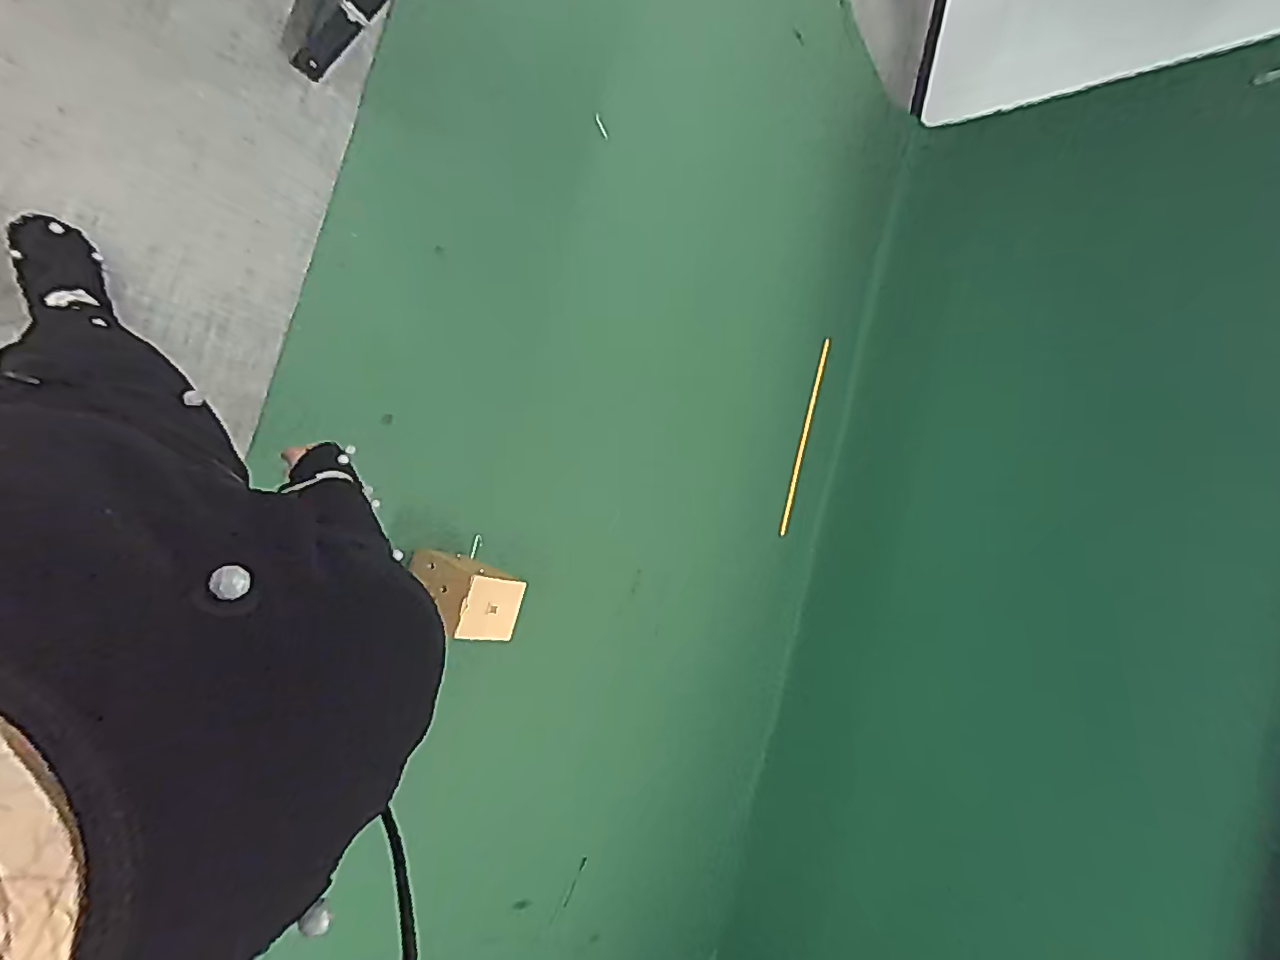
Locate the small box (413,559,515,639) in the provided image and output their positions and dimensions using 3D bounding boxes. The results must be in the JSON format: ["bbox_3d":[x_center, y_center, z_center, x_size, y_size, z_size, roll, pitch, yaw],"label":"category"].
[{"bbox_3d":[-0.476,0.321,1.463,0.179,0.176,0.168,22,82,-48],"label":"small box"}]
